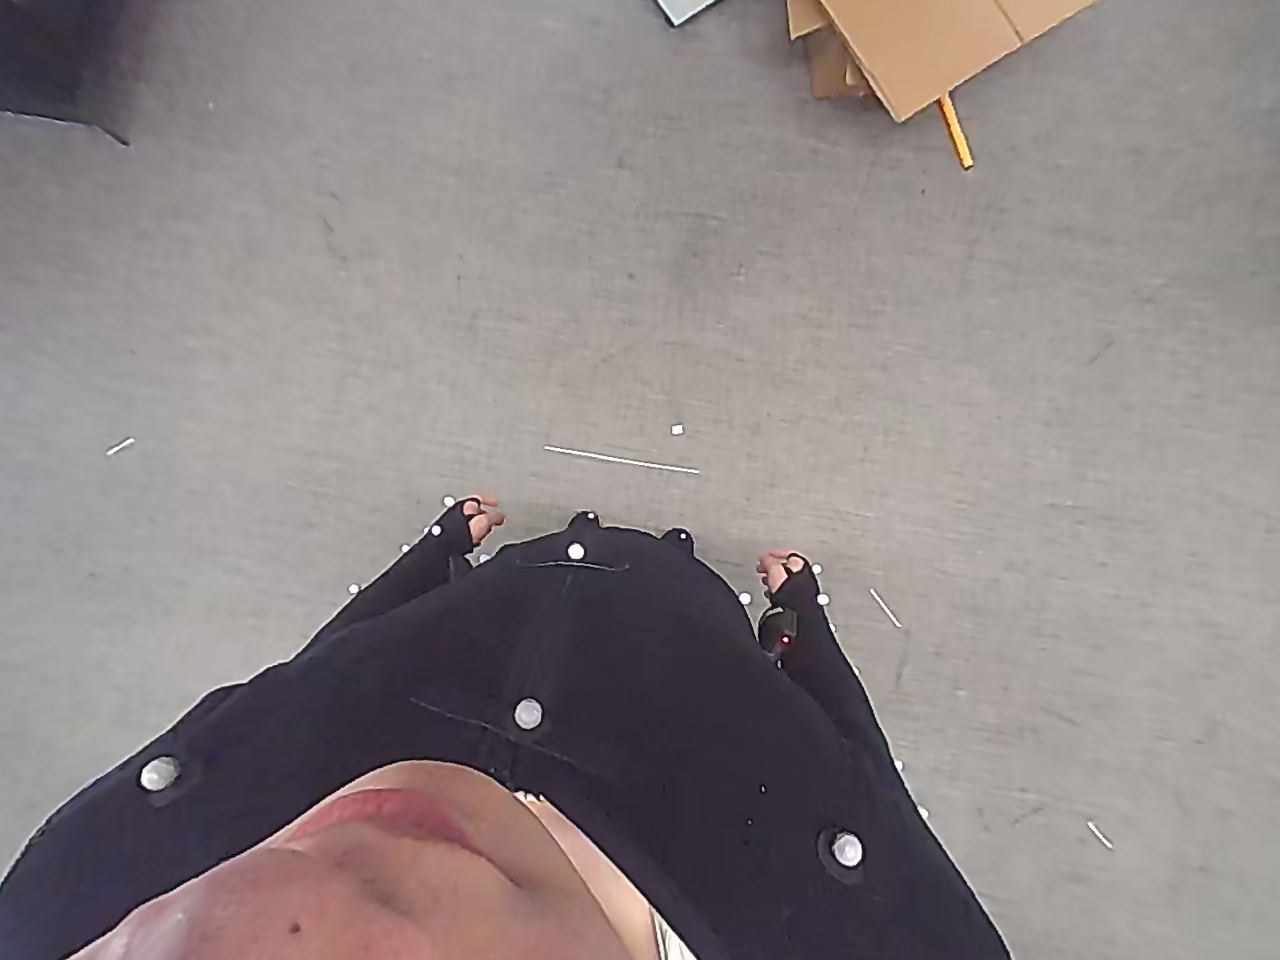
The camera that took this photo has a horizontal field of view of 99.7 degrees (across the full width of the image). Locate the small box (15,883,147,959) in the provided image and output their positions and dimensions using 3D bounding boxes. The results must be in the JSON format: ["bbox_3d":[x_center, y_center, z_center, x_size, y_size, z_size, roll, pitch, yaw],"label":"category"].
[{"bbox_3d":[-1.478,1.217,1.432,0.179,0.176,0.168,15,86,1],"label":"small box"}]
